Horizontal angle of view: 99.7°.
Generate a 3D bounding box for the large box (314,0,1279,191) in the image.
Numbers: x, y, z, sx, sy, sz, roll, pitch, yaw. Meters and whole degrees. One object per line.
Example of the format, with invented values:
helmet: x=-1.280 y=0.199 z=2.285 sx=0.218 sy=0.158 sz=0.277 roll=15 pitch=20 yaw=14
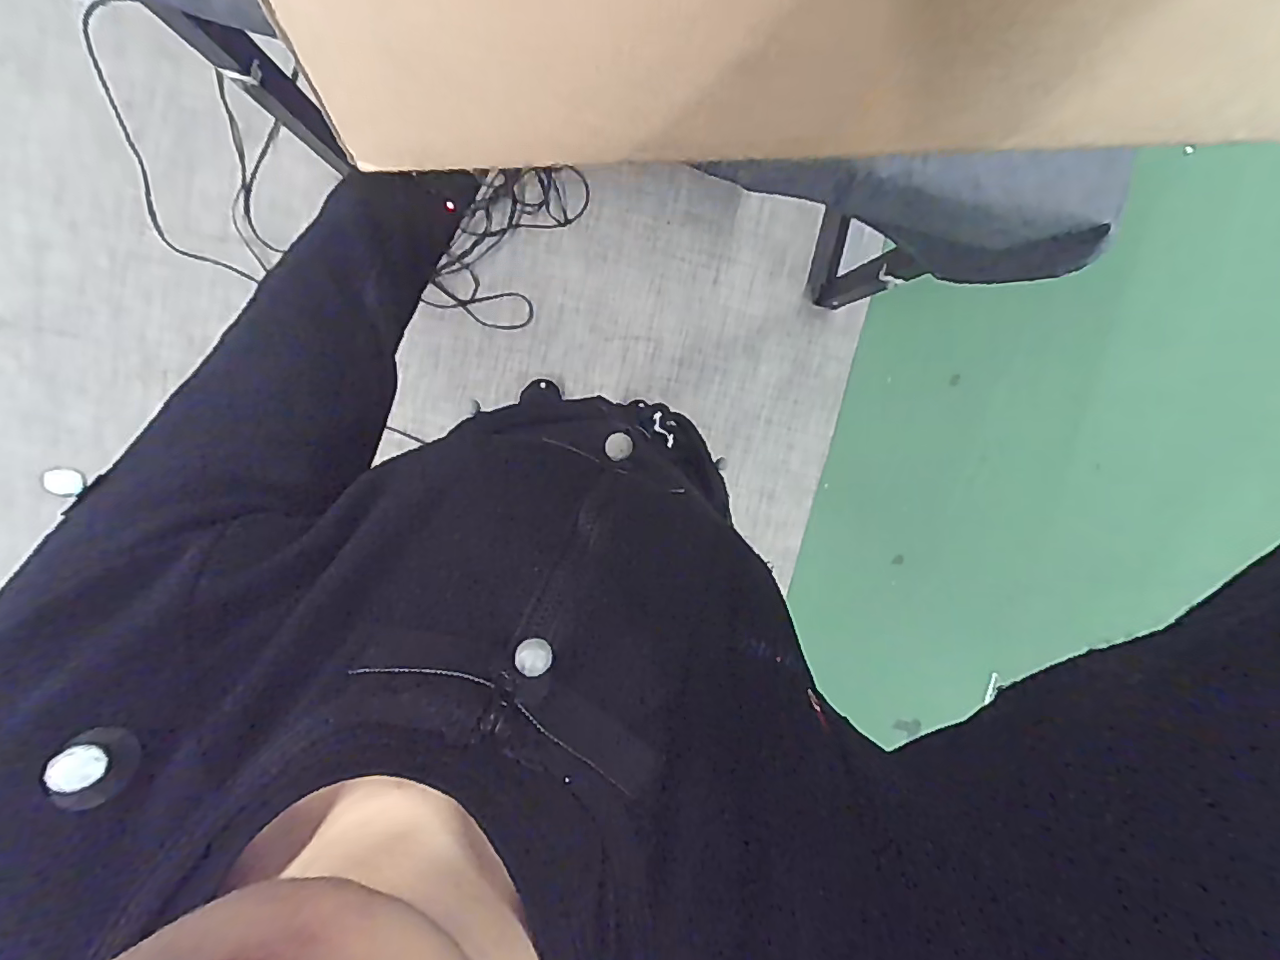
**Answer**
large box: x=0.069 y=-0.351 z=0.202 sx=0.408 sy=0.320 sz=0.320 roll=2 pitch=57 yaw=9
